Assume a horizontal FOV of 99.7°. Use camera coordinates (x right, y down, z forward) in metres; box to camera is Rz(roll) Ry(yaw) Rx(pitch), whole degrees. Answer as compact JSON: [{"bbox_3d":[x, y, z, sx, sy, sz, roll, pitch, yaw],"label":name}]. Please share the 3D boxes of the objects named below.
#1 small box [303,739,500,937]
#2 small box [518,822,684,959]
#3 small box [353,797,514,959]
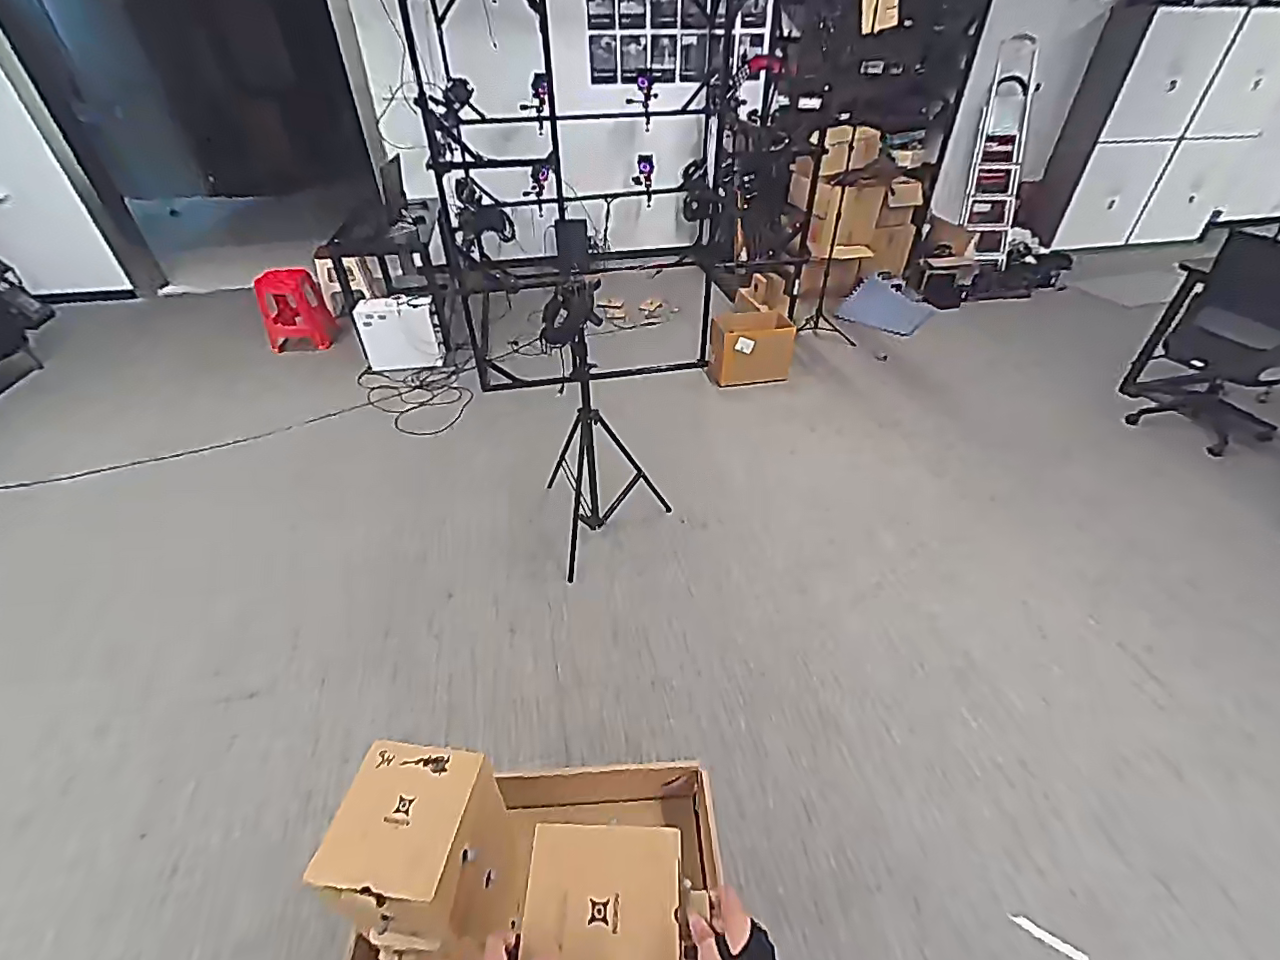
[{"bbox_3d":[-0.305,0.491,0.742,0.168,0.176,0.179,5,39,7],"label":"small box"},{"bbox_3d":[-0.040,0.528,0.650,0.179,0.176,0.168,1,46,2],"label":"small box"},{"bbox_3d":[-0.305,0.618,0.848,0.168,0.176,0.179,2,37,4],"label":"small box"}]
